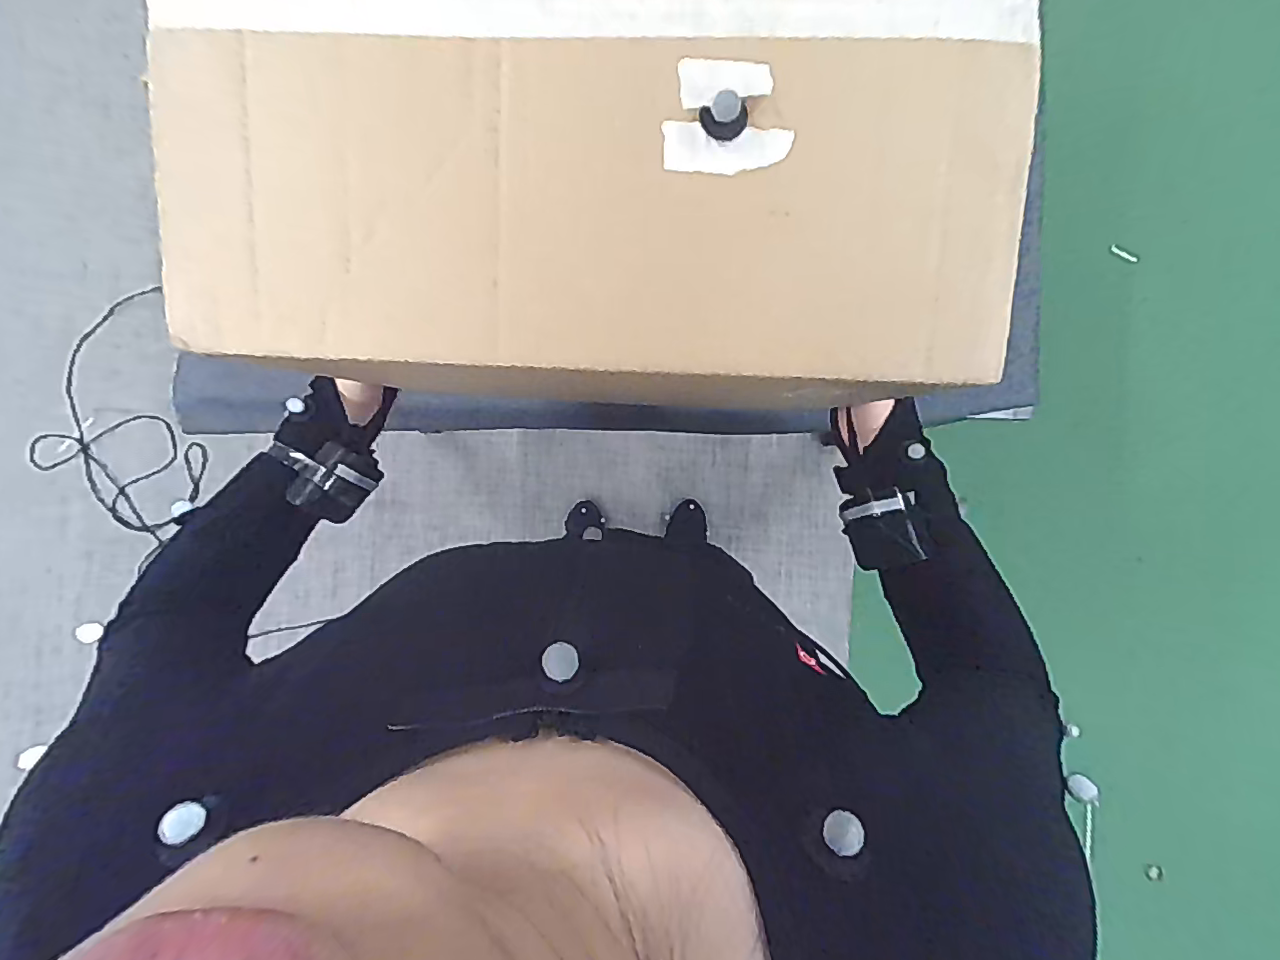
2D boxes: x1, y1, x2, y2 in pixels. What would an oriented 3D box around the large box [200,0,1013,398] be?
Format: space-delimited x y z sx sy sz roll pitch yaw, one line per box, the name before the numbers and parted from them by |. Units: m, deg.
large box | -0.017 -0.230 0.414 0.408 0.320 0.320 2 96 2
